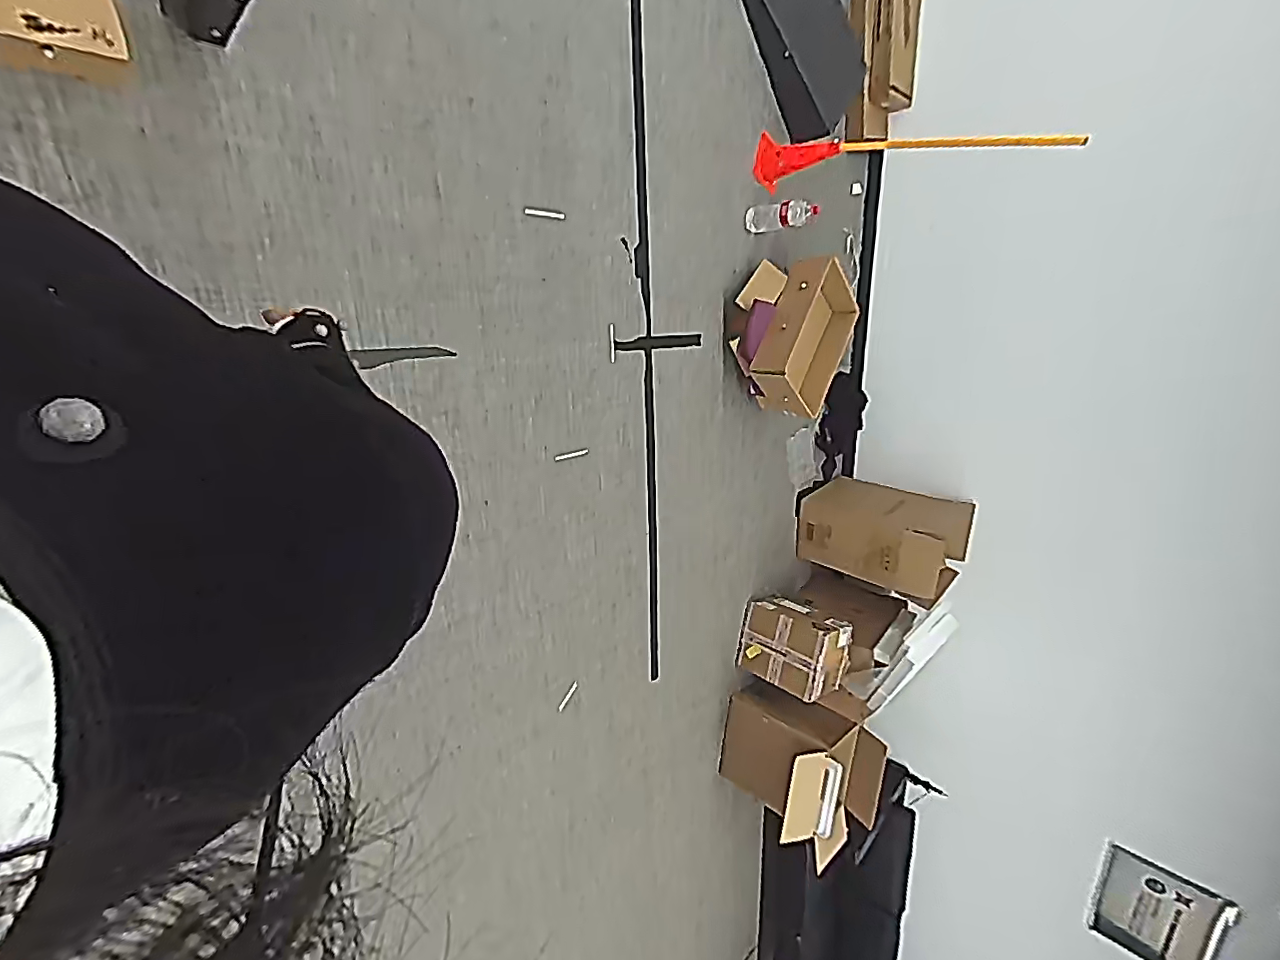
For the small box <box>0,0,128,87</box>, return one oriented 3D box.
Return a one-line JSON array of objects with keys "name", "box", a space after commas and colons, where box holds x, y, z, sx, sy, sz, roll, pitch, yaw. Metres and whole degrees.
[{"name": "small box", "box": [-0.979, -0.788, 0.886, 0.168, 0.176, 0.179, -18, 114, -42]}]
